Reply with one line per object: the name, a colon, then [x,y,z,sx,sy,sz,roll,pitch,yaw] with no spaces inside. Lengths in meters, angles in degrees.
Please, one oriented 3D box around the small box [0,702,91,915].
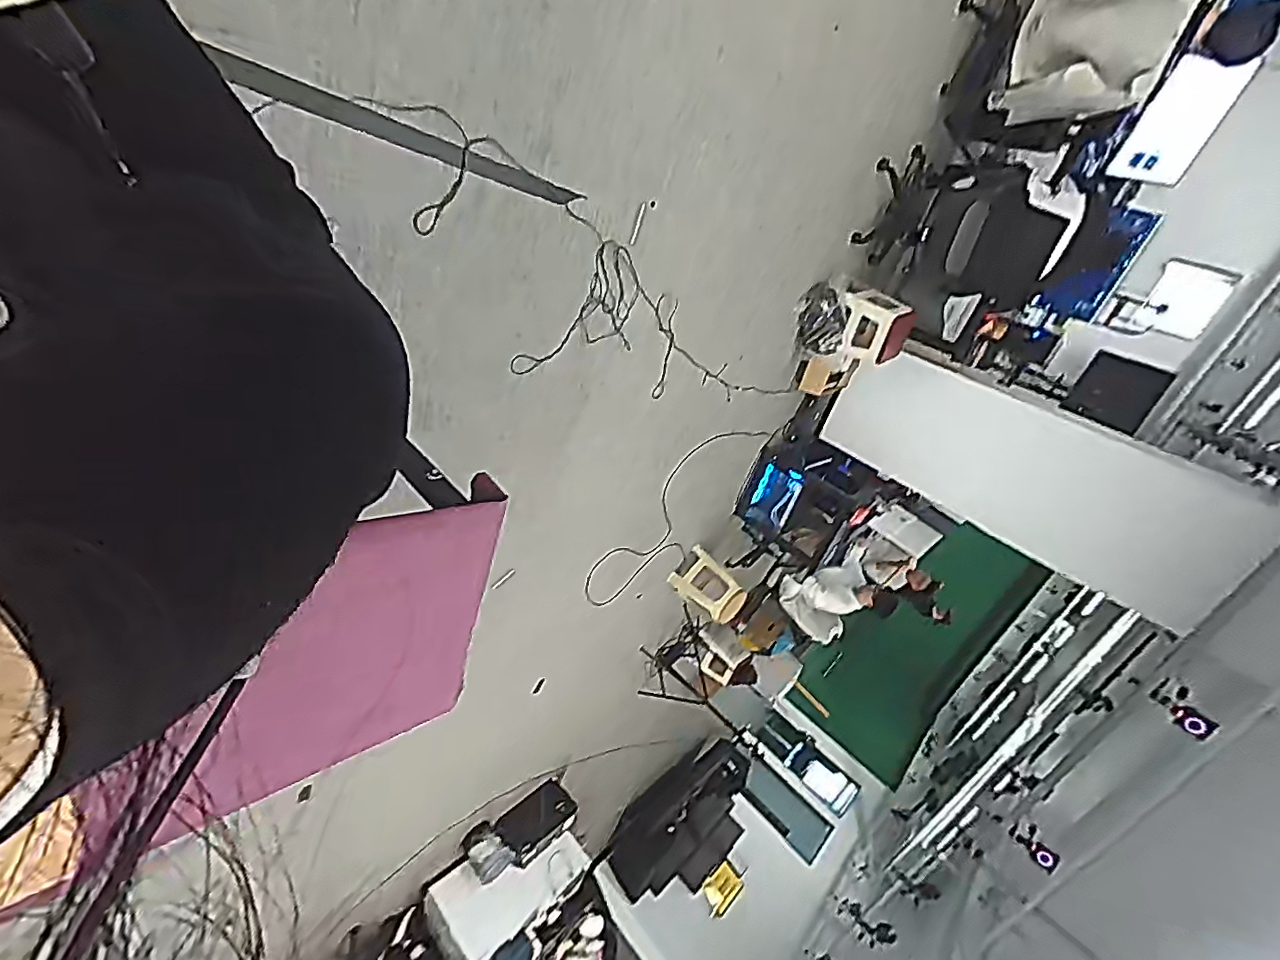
small box: [-0.789,0.401,0.639,0.179,0.176,0.168,-7,125,-49]
